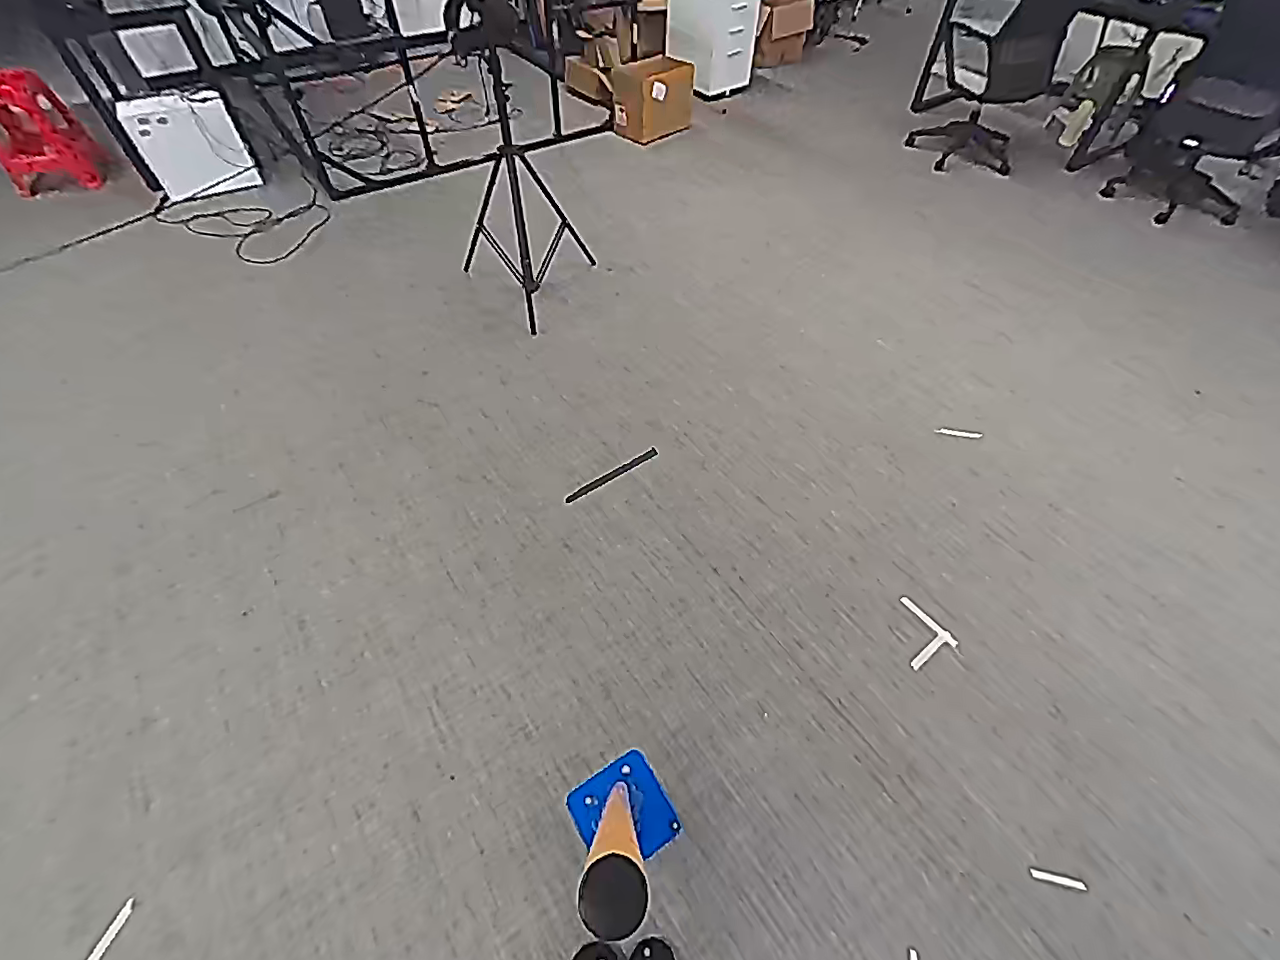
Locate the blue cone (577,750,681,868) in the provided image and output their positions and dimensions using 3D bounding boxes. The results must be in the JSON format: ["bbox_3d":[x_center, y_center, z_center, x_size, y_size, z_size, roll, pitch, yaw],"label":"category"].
[{"bbox_3d":[-0.027,0.631,1.081,0.192,0.380,0.193,-25,57,-19],"label":"blue cone"}]
